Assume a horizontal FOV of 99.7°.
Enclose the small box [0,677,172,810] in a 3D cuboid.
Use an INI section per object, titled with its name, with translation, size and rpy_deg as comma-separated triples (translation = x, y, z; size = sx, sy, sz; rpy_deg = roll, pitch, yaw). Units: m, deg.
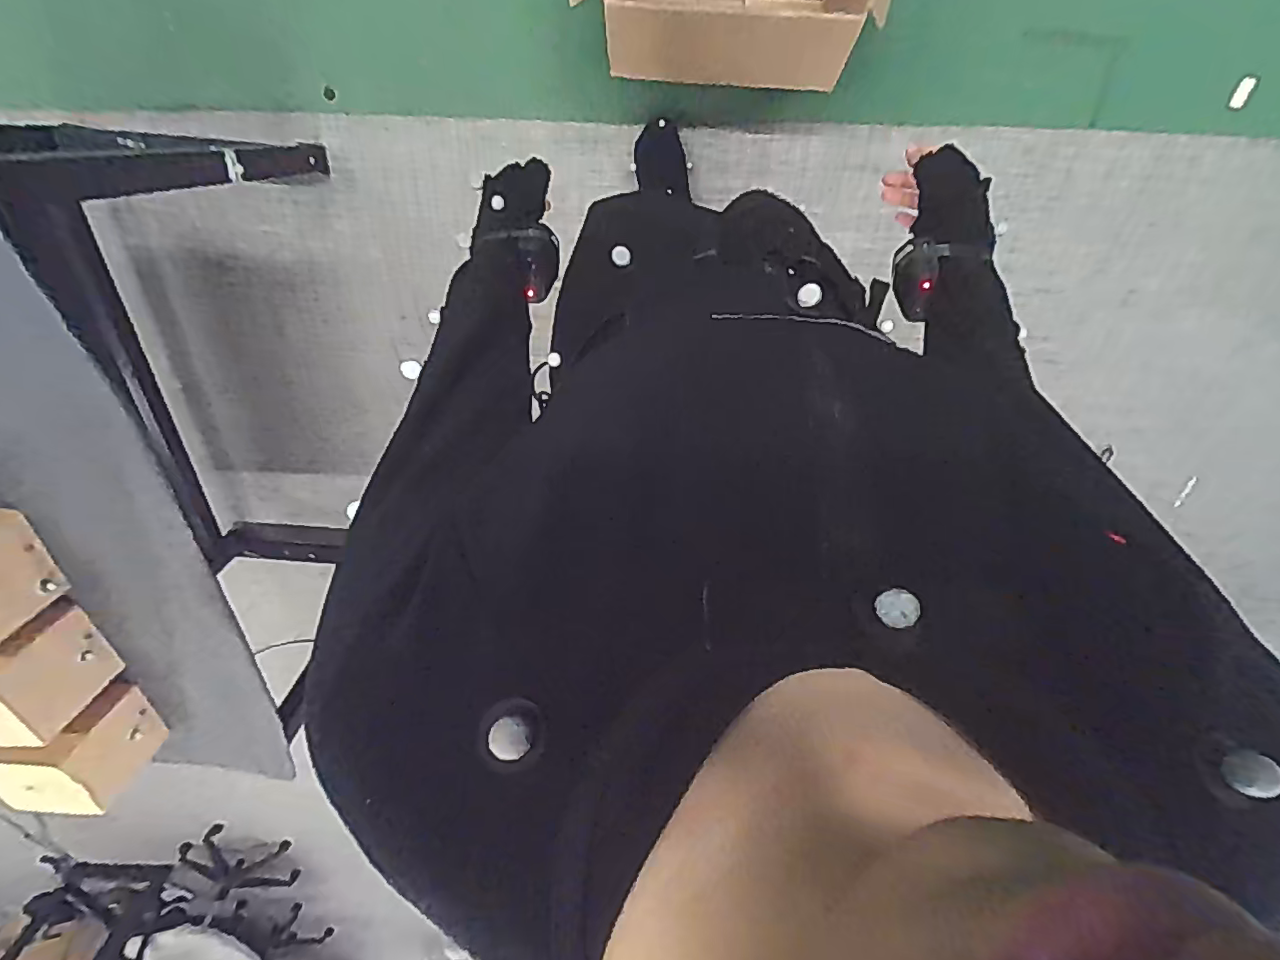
[small box]
translation = -1.074, 0.500, 1.040
size = 0.179, 0.176, 0.168
rpy_deg = 3, 123, 1
